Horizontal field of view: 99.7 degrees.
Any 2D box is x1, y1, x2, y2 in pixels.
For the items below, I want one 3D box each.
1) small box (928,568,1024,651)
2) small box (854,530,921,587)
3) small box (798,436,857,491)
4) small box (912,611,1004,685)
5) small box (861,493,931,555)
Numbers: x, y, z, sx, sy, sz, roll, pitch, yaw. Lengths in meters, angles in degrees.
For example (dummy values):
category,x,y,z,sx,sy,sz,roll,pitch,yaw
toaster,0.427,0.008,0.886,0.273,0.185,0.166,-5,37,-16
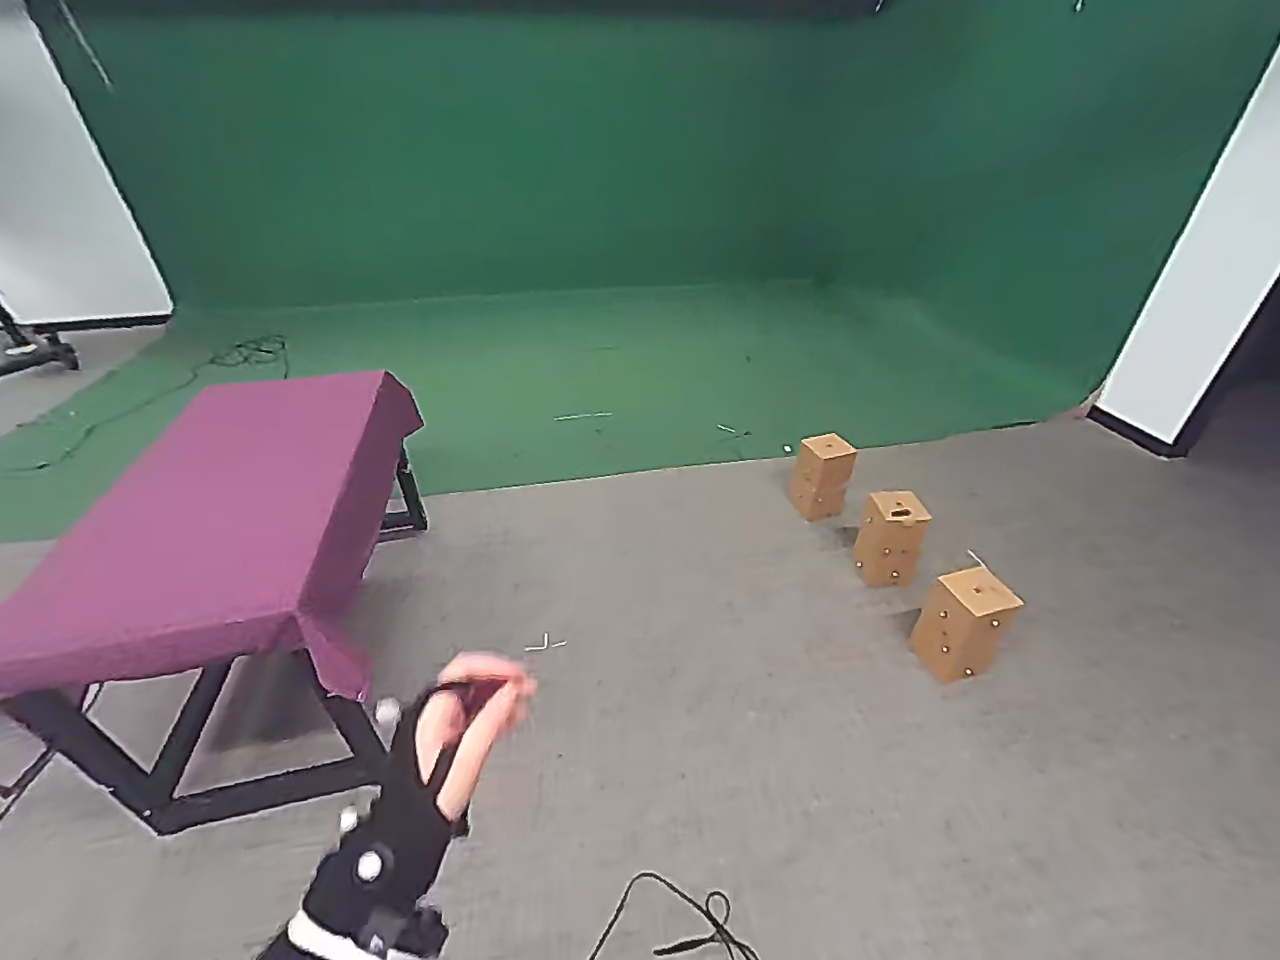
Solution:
category,x,y,z,sx,sy,sz,roll,pitch,yaw
small box,1.020,0.401,1.665,0.179,0.176,0.168,-9,37,-11
small box,0.954,0.301,2.099,0.168,0.176,0.179,-2,35,-2
small box,0.807,-0.068,2.349,0.179,0.176,0.168,-12,37,-16
small box,1.027,0.534,1.764,0.168,0.176,0.179,-10,36,-12
small box,0.943,0.166,2.004,0.168,0.176,0.179,-2,34,-1
